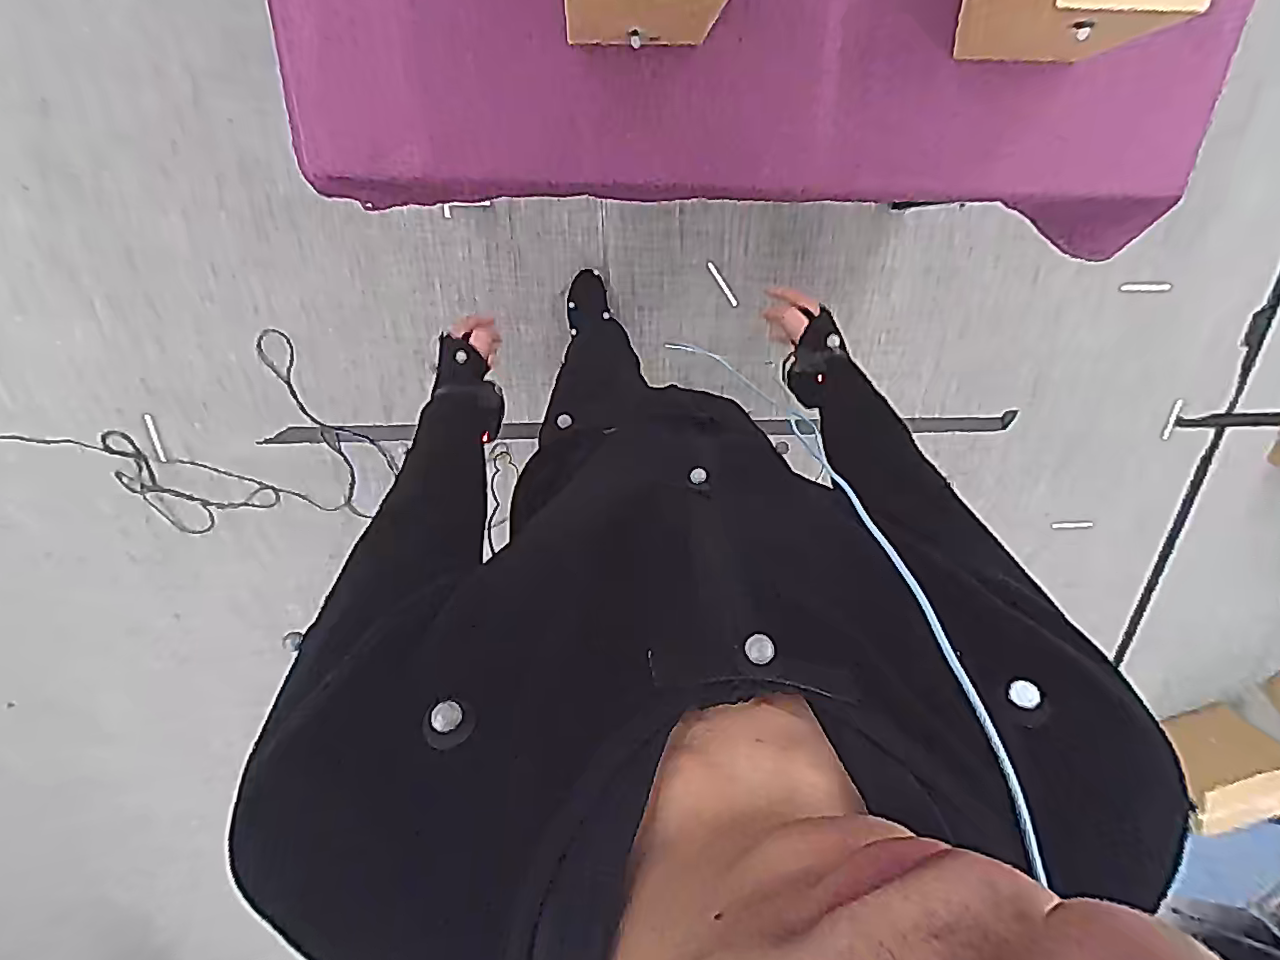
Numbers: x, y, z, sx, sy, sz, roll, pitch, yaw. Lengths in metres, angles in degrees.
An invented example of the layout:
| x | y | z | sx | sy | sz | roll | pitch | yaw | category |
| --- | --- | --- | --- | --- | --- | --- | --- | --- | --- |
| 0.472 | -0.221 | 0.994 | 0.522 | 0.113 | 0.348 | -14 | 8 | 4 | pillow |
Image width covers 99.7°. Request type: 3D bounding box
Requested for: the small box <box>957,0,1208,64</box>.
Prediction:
| x | y | z | sx | sy | sz | roll | pitch | yaw | category |
| --- | --- | --- | --- | --- | --- | --- | --- | --- | --- |
| 0.492 | -0.585 | 0.598 | 0.179 | 0.176 | 0.168 | -2 | 114 | -5 | small box |
